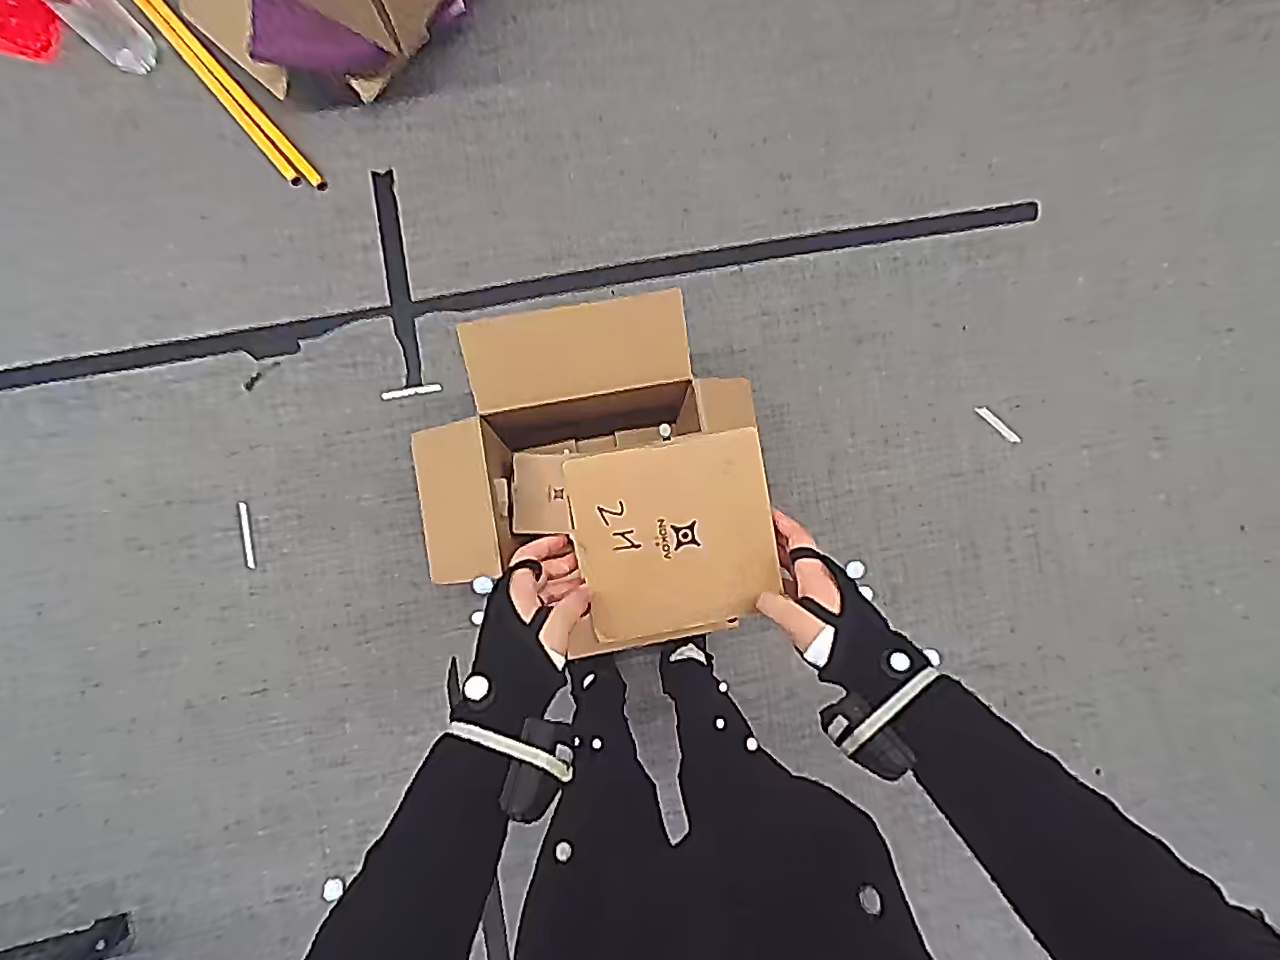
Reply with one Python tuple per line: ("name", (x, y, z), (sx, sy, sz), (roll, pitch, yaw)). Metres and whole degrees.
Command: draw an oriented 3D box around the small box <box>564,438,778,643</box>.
("small box", (0.025, 0.048, 0.564), (0.179, 0.176, 0.168), (-10, 94, -1))
